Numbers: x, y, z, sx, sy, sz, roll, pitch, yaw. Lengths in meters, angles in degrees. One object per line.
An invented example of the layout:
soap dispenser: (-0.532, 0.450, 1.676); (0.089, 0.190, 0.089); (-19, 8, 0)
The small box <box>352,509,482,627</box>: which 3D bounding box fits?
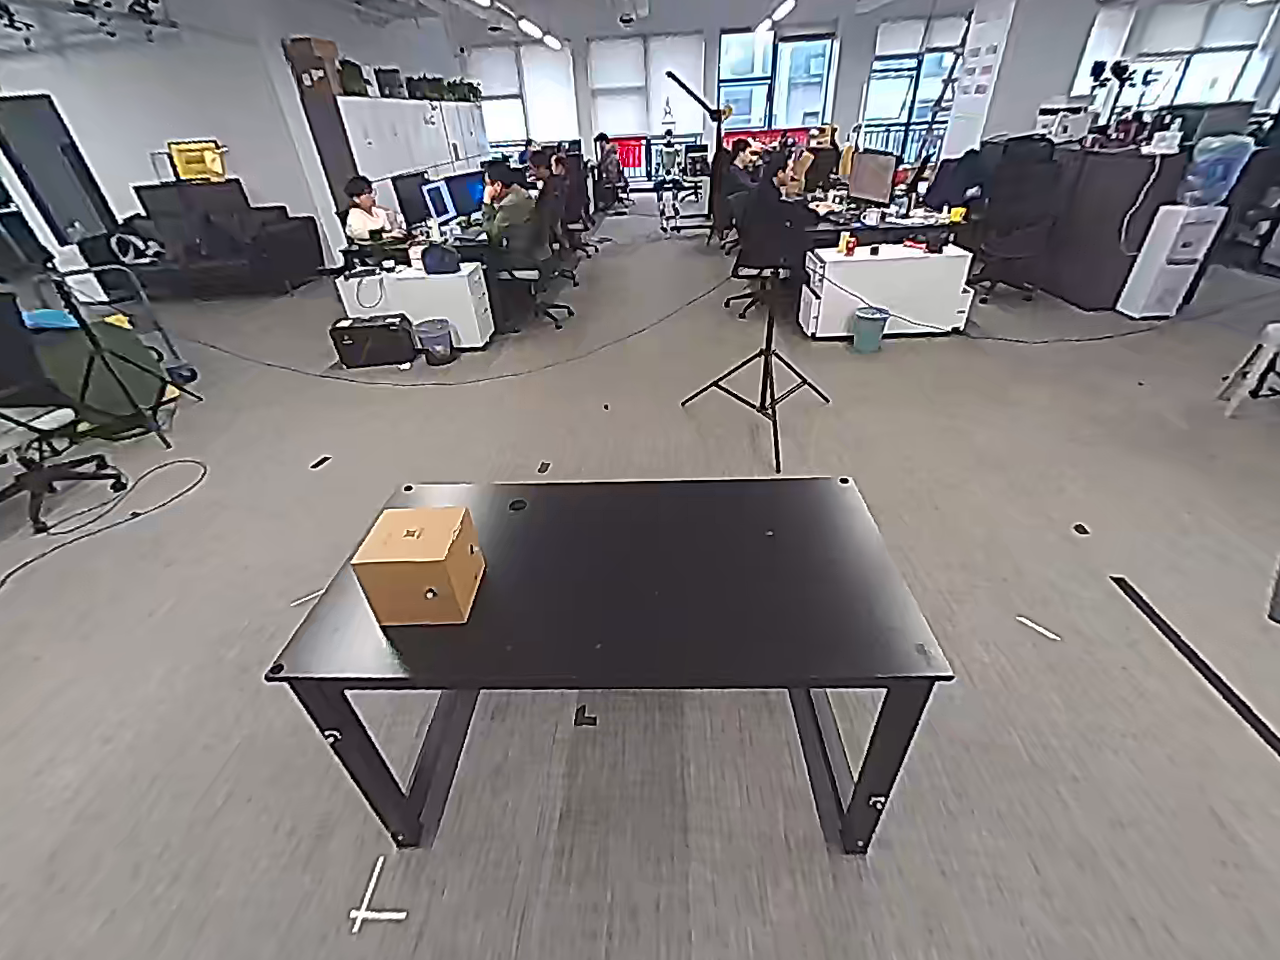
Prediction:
small box: (-0.429, 0.176, 1.080); (0.179, 0.176, 0.168); (-3, 33, 1)
